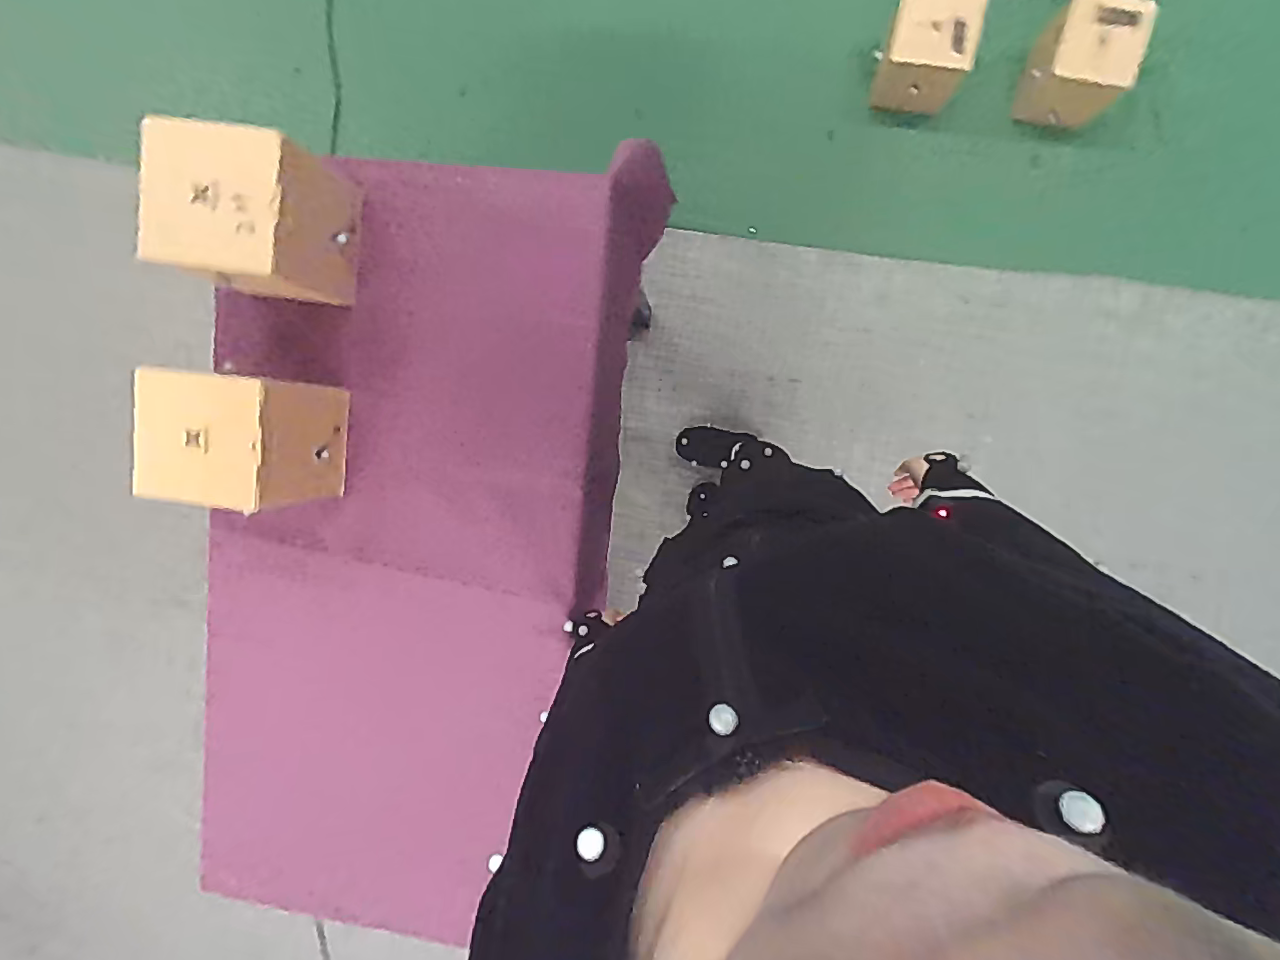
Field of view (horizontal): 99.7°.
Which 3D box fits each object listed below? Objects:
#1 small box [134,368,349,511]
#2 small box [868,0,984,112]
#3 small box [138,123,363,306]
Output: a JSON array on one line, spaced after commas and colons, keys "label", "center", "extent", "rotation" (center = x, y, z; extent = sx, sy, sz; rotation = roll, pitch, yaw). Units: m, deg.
[{"label": "small box", "center": [-0.547, -0.057, 0.759], "extent": [0.179, 0.176, 0.168], "rotation": [6, 96, 5]}, {"label": "small box", "center": [0.660, -1.000, 1.267], "extent": [0.179, 0.176, 0.168], "rotation": [11, 96, 7]}, {"label": "small box", "center": [-0.509, -0.341, 0.726], "extent": [0.179, 0.176, 0.168], "rotation": [9, 96, 3]}]
